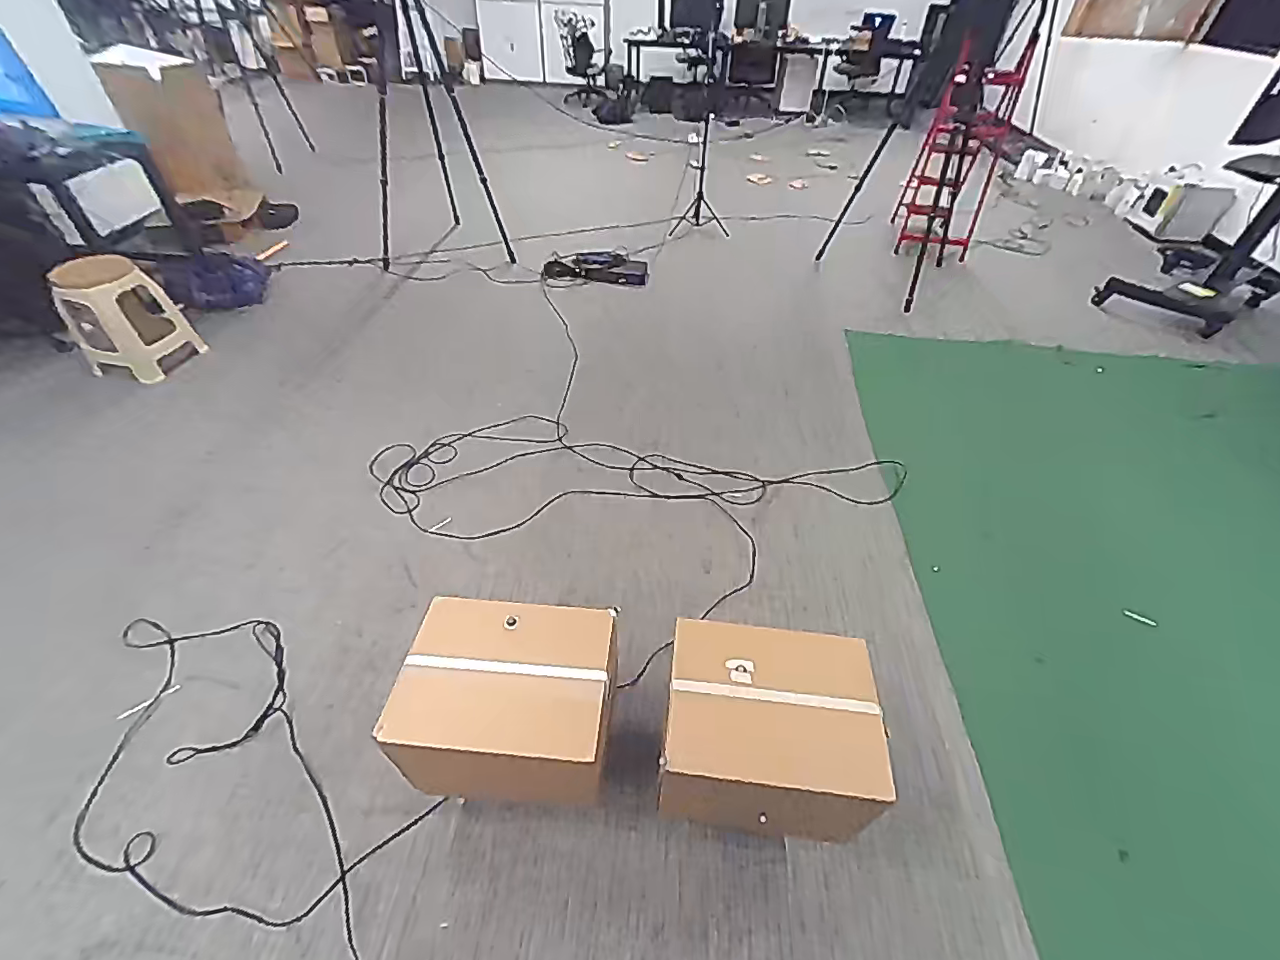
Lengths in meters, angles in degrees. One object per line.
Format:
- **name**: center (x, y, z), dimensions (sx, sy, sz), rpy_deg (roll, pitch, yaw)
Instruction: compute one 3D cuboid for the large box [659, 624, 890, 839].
- **large box**: center (0.258, 0.543, 1.167), dimensions (0.408, 0.320, 0.320), rpy_deg (6, 44, 5)
